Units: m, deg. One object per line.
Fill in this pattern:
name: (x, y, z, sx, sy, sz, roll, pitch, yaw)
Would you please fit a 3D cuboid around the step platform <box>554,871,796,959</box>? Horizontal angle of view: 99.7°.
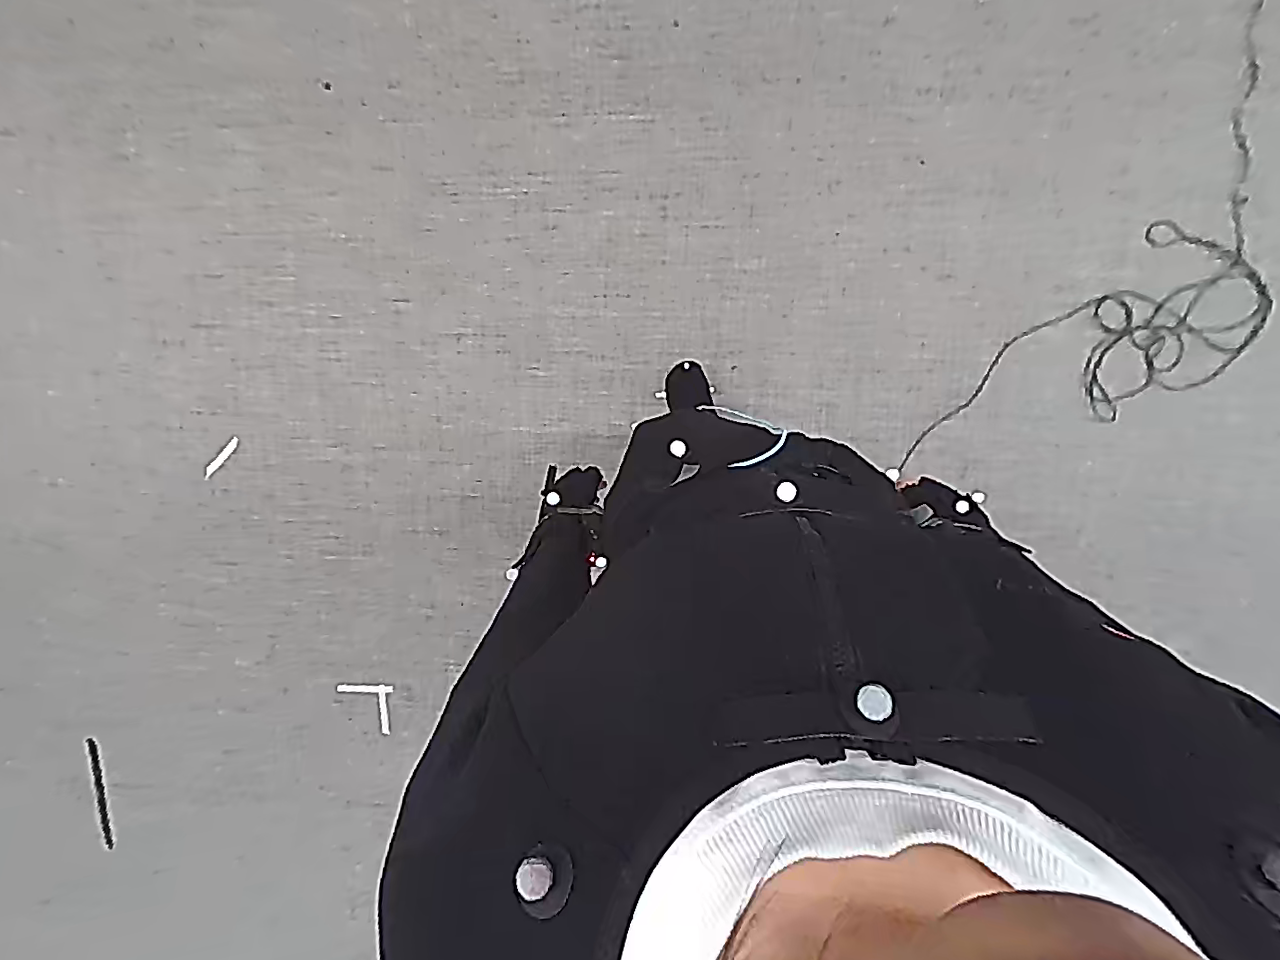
step platform: (0.097, 1.352, 1.557, 0.684, 0.204, 0.286, 1, 98, 6)
